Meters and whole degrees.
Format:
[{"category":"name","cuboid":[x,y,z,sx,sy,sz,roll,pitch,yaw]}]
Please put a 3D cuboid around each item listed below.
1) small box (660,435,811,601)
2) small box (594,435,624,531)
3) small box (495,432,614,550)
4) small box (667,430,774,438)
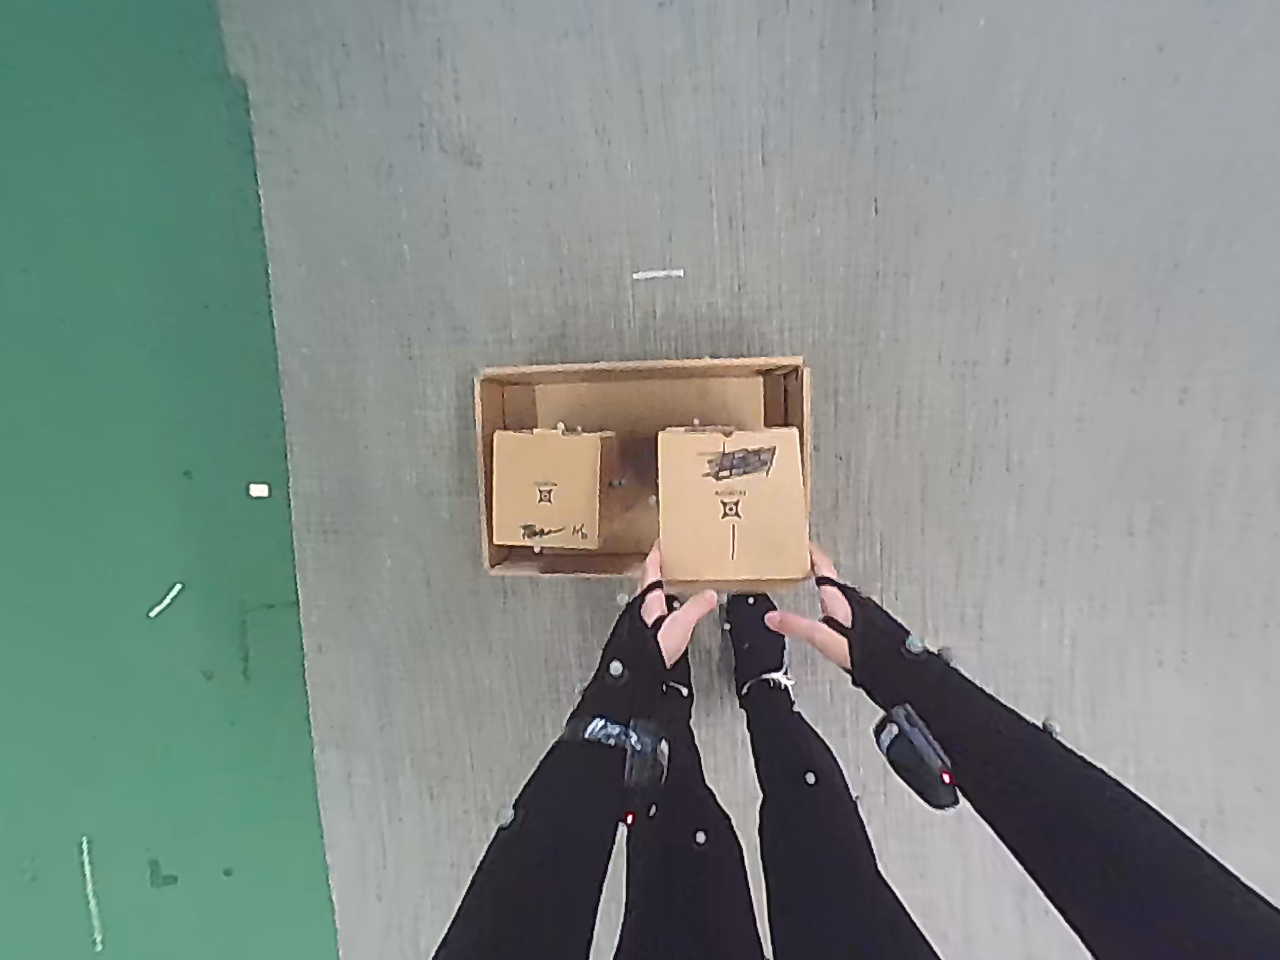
[{"category":"small box","cuboid":[0.109,0.056,0.694,0.168,0.176,0.179,-1,71,2]},{"category":"small box","cuboid":[-0.121,0.002,1.075,0.168,0.176,0.179,-2,95,2]},{"category":"small box","cuboid":[-0.136,0.013,0.911,0.168,0.176,0.179,3,94,4]},{"category":"small box","cuboid":[0.126,0.008,0.896,0.168,0.176,0.179,1,95,6]}]
